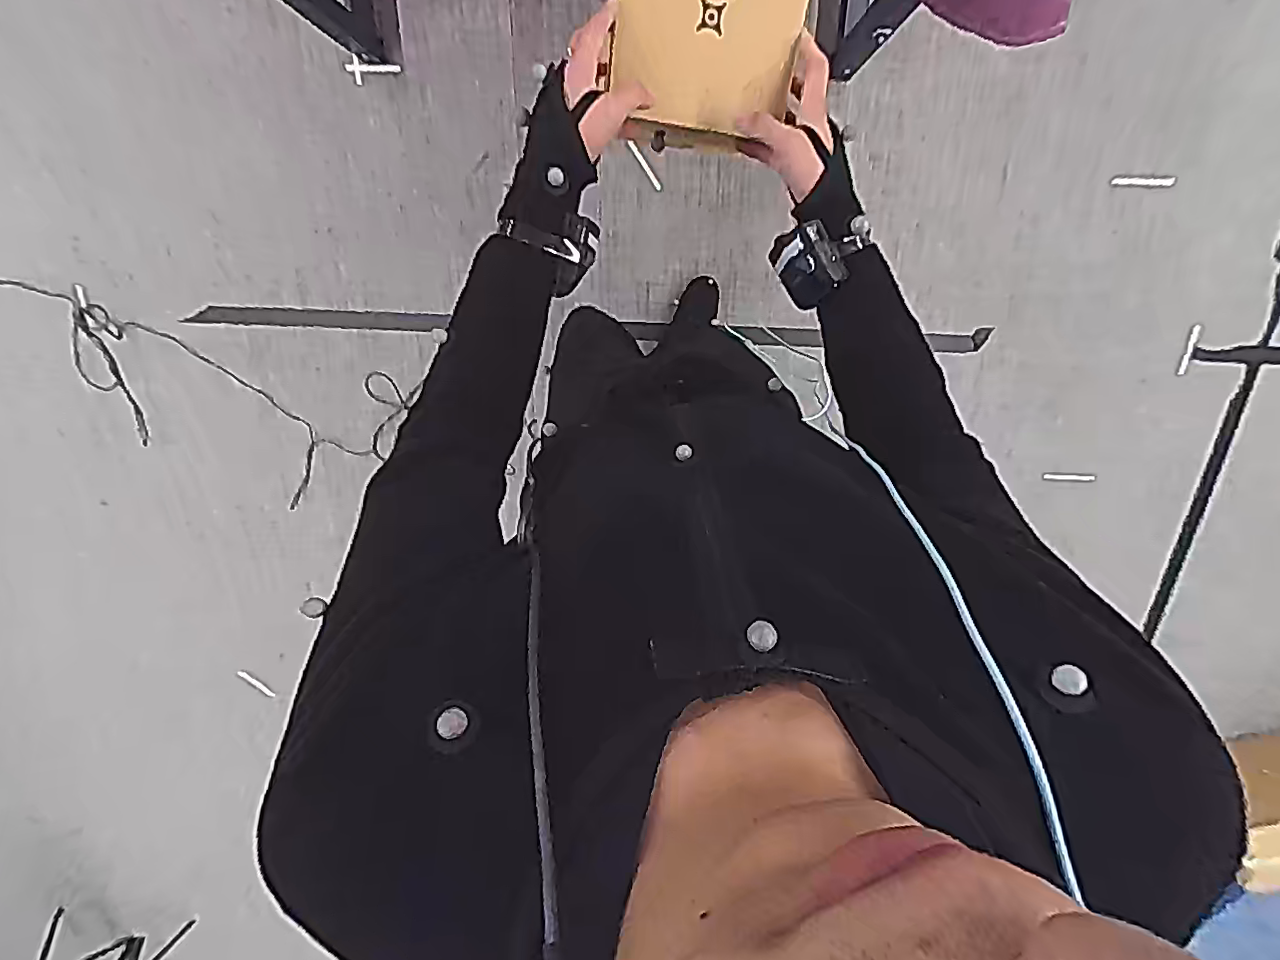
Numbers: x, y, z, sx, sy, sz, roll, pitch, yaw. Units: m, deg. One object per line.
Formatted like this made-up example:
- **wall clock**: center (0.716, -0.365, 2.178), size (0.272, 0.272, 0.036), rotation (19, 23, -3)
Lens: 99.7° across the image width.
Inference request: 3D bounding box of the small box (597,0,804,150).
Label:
- **small box**: center (0.048, -0.435, 0.522), size (0.168, 0.176, 0.179), rotation (3, 115, -9)
